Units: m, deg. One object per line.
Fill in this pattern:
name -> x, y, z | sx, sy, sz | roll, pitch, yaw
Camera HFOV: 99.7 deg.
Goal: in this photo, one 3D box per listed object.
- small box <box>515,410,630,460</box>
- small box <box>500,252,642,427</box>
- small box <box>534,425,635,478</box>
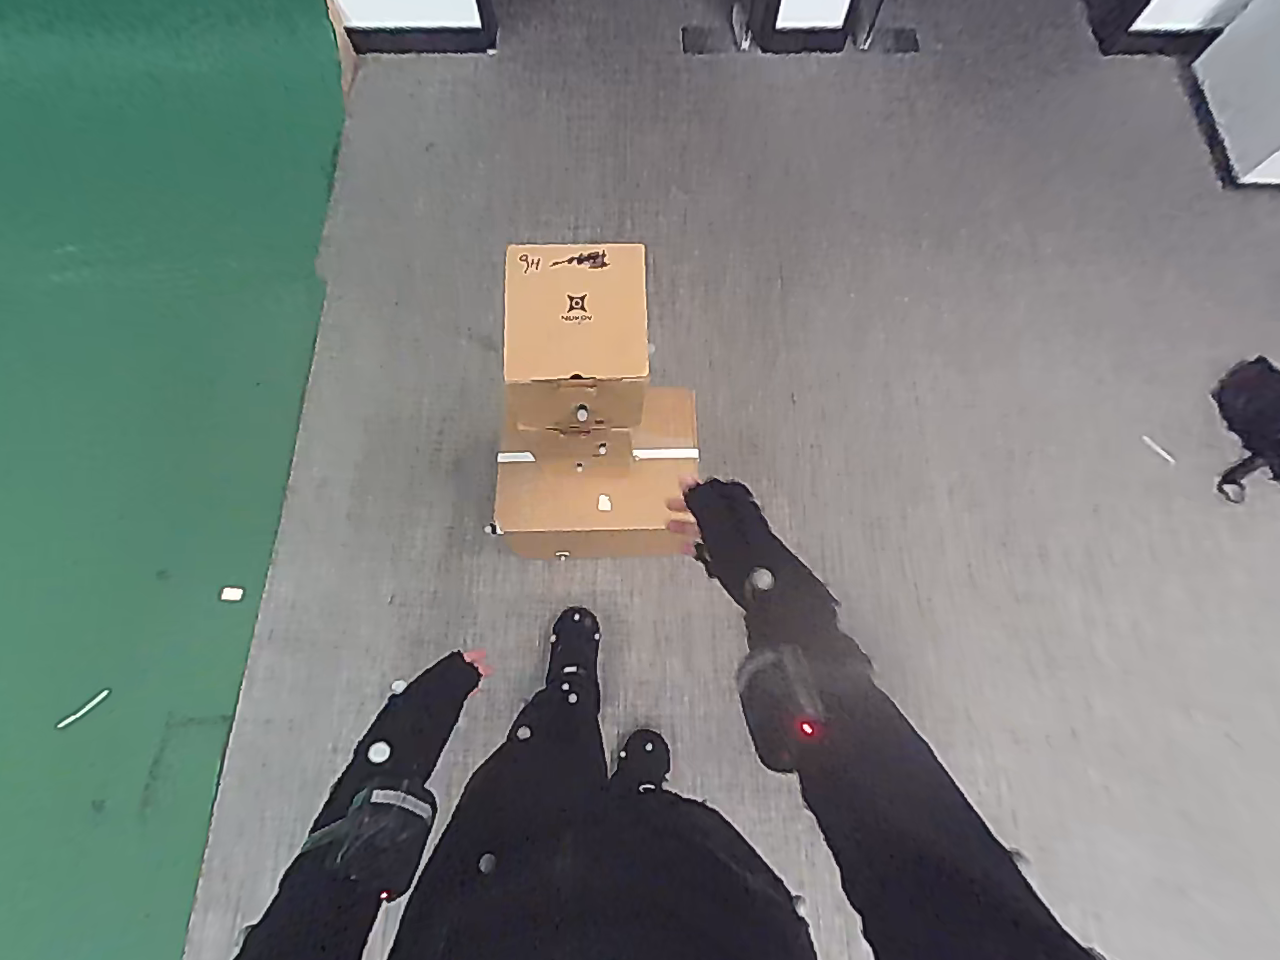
small box -> -0.099, -0.132, 0.867 | 0.168, 0.176, 0.179 | -1, 77, -2
small box -> -0.081, -0.171, 0.709 | 0.168, 0.176, 0.179 | -2, 79, -2
small box -> -0.099, -0.100, 1.026 | 0.179, 0.176, 0.168 | -1, 78, -1
